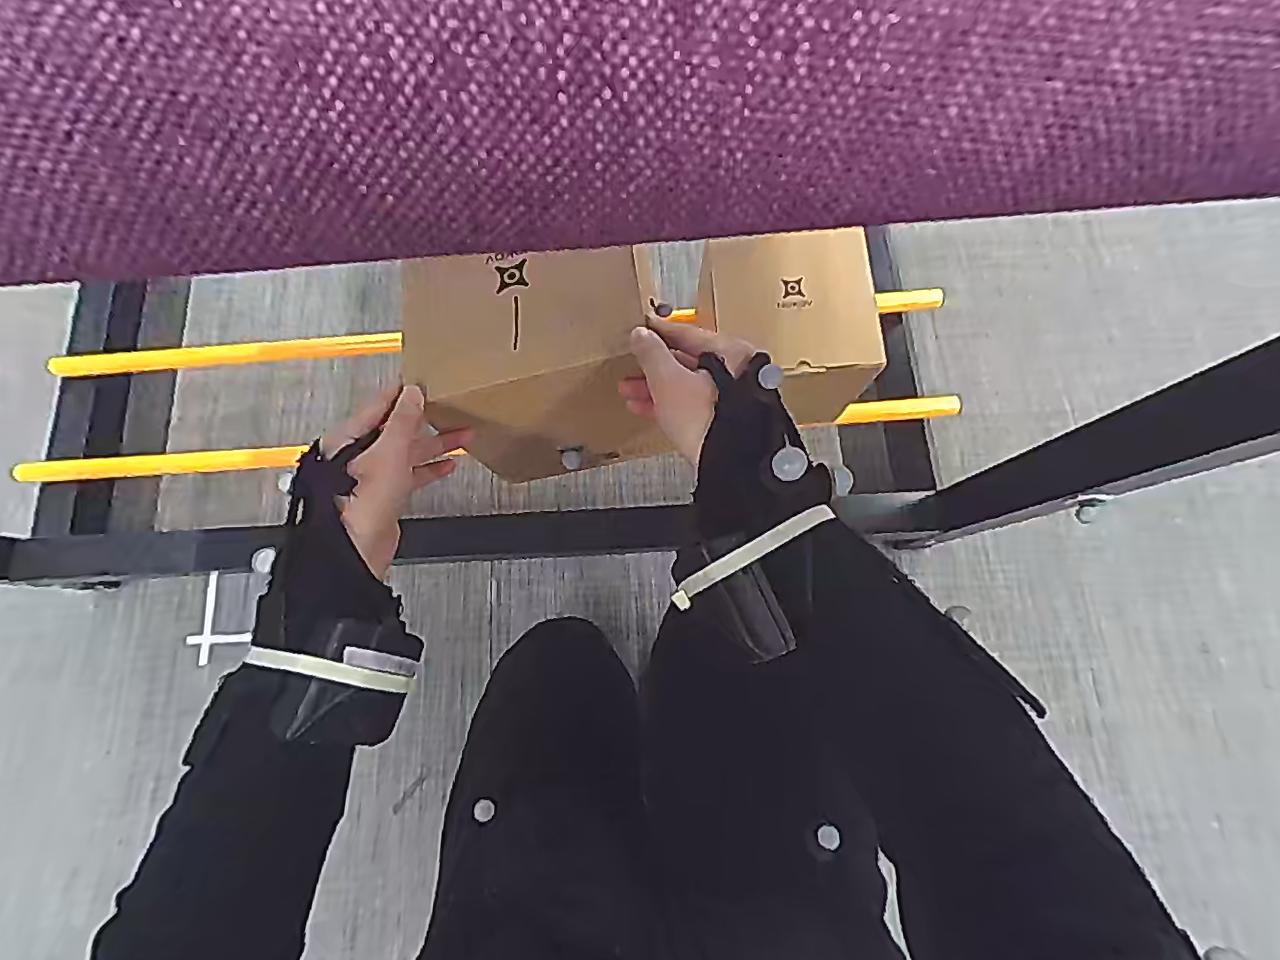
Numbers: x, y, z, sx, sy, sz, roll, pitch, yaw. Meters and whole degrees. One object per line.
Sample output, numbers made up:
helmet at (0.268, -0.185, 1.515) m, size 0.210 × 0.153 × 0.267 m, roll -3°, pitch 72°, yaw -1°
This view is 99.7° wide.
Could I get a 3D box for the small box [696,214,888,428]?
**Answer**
small box at (0.159, -0.173, 0.627) m, size 0.168 × 0.176 × 0.179 m, roll -4°, pitch 76°, yaw 1°
